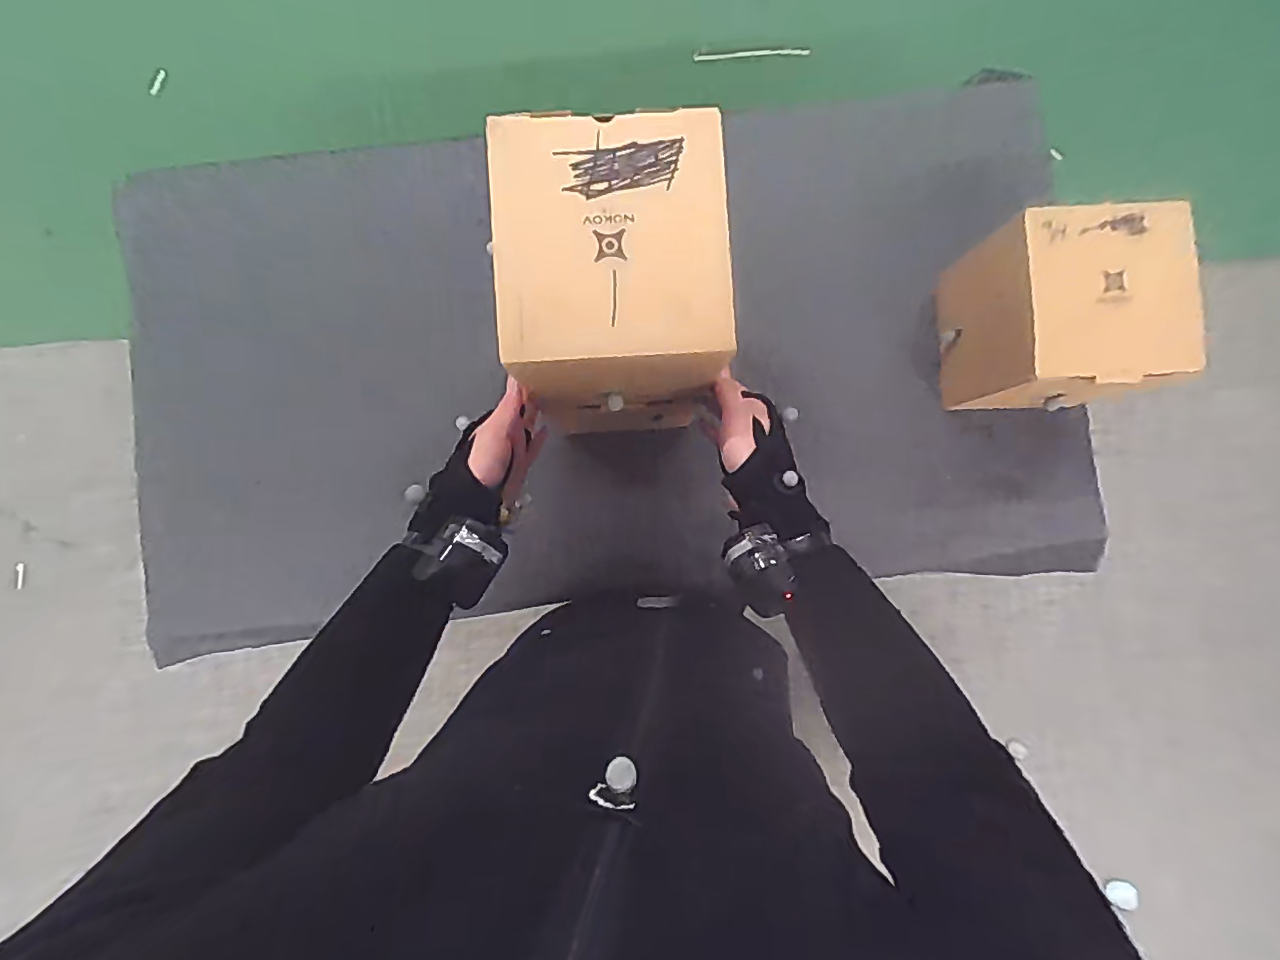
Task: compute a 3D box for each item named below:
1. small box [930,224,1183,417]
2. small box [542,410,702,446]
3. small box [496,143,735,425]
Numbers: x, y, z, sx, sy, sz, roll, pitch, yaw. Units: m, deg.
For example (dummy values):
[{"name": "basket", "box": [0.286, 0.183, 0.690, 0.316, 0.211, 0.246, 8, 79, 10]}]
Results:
[{"name": "small box", "box": [0.463, -0.169, 0.628, 0.168, 0.176, 0.179, -2, 87, 0]}, {"name": "small box", "box": [-0.024, -0.136, 0.628, 0.168, 0.176, 0.179, -5, 85, -2]}, {"name": "small box", "box": [-0.021, -0.149, 0.464, 0.168, 0.176, 0.179, -4, 88, -1]}]
